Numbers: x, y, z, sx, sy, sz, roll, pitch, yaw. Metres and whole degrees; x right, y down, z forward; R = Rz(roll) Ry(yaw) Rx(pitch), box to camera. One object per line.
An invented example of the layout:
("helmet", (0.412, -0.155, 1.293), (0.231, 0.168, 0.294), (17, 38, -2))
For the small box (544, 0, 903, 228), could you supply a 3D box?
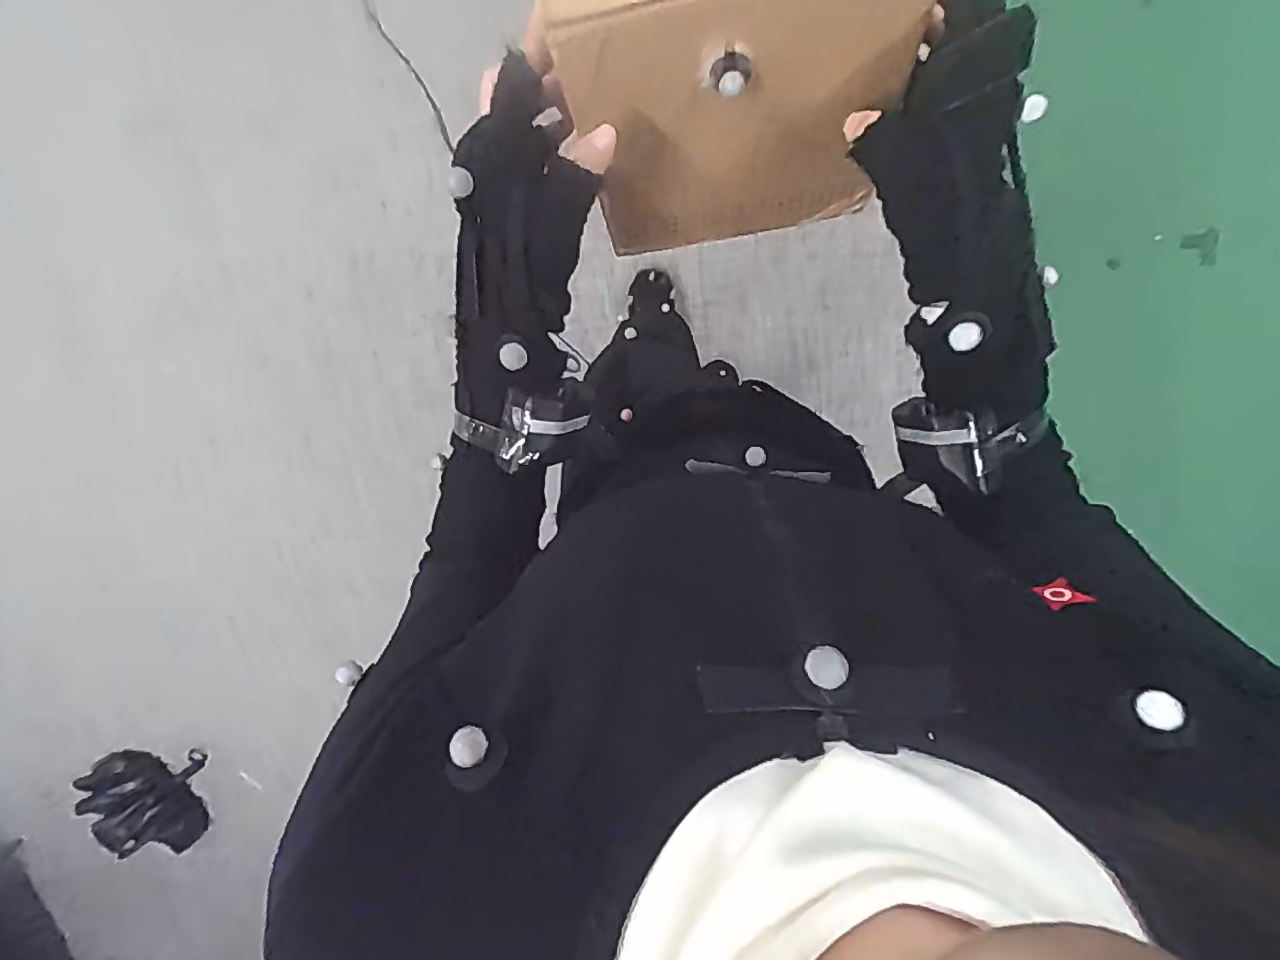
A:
("small box", (0.048, -0.282, 0.328), (0.179, 0.176, 0.168), (-7, 76, 7))
